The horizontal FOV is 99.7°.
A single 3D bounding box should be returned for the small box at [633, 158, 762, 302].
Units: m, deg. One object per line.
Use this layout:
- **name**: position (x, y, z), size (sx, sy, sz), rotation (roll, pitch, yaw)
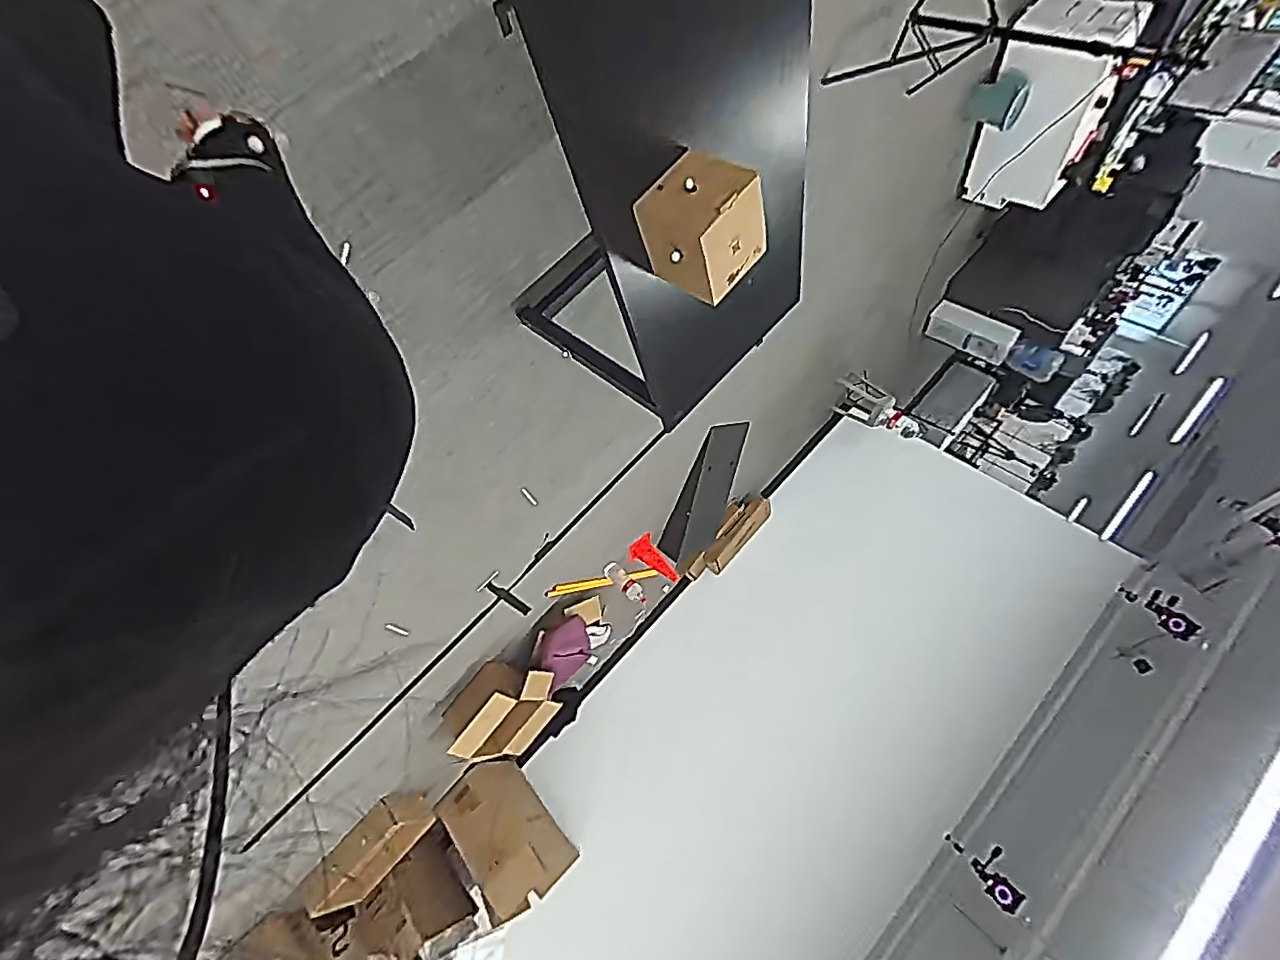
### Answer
- **small box**: position (0.111, -0.484, 1.037), size (0.168, 0.176, 0.179), rotation (-48, 151, -8)
